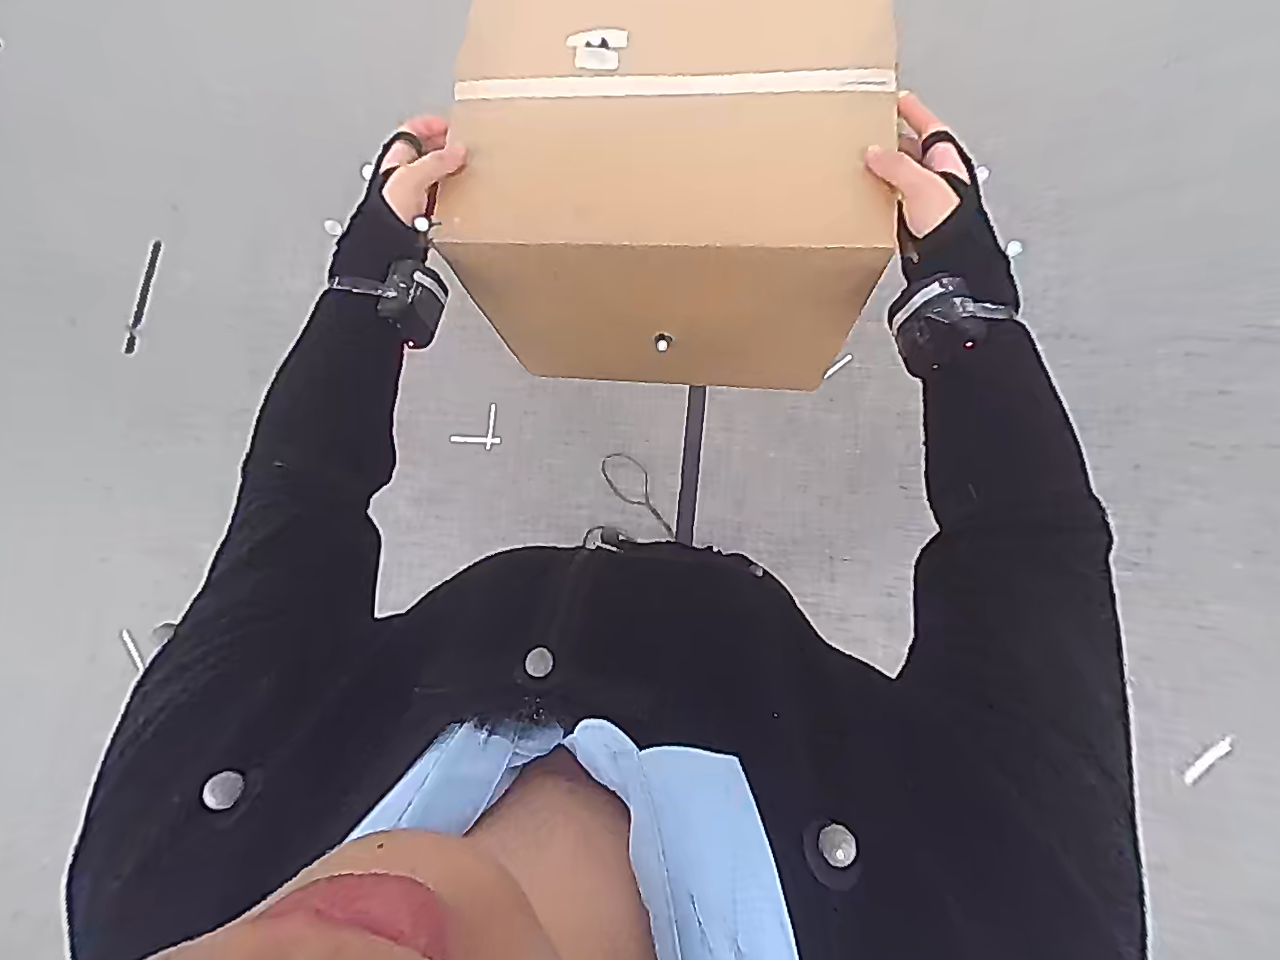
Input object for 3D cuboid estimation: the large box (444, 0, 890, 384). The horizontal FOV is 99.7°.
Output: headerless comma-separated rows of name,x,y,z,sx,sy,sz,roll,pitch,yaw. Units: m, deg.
large box,0.041,-0.317,0.652,0.408,0.320,0.320,3,77,7
